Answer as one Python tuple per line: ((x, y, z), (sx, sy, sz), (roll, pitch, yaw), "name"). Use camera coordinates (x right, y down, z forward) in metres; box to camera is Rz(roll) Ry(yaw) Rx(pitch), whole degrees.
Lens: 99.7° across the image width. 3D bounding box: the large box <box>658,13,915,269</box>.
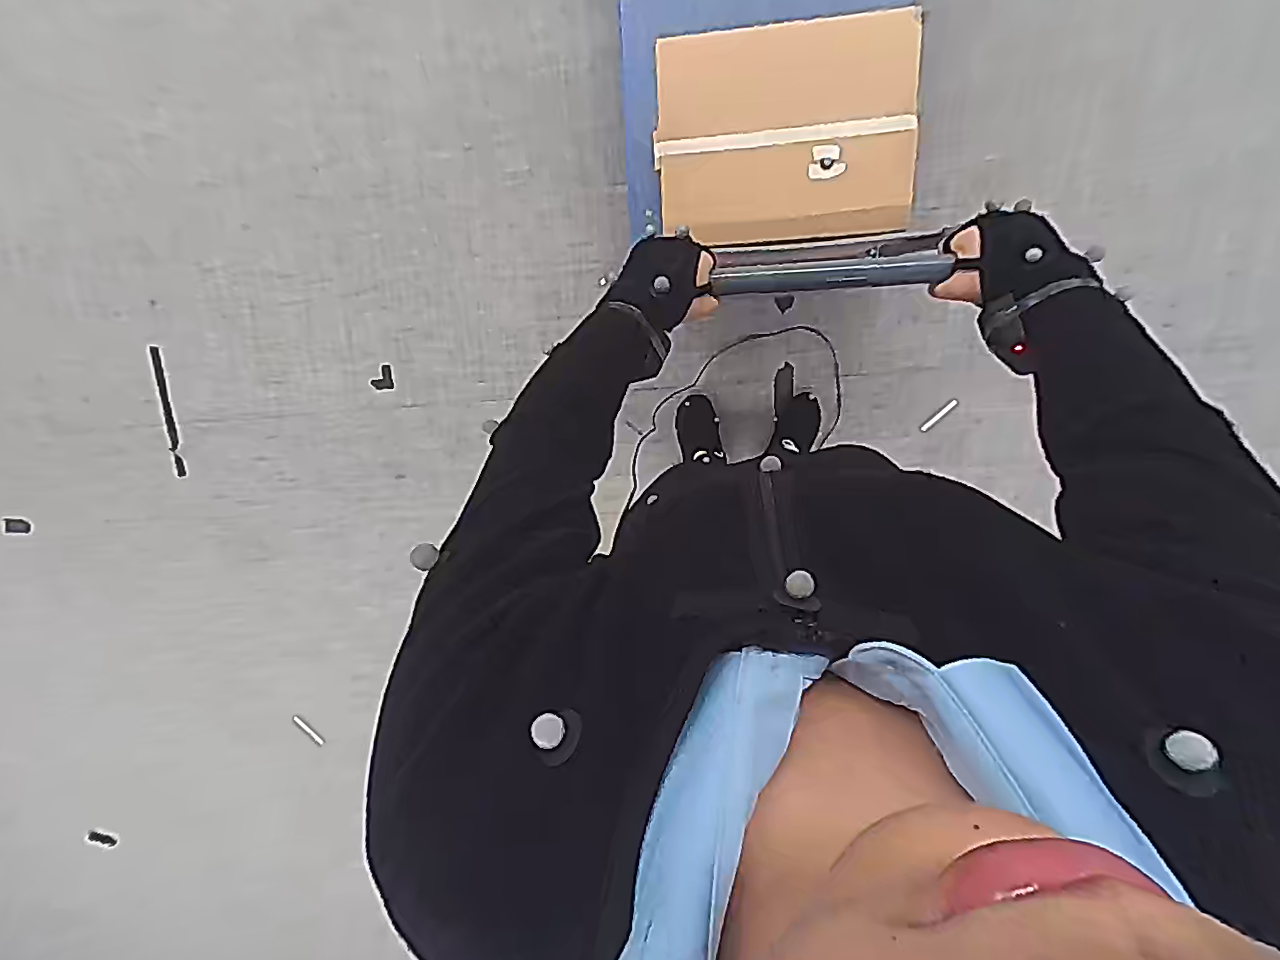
((0.250, -0.599, 1.033), (0.408, 0.320, 0.320), (-2, 105, 6), "large box")
